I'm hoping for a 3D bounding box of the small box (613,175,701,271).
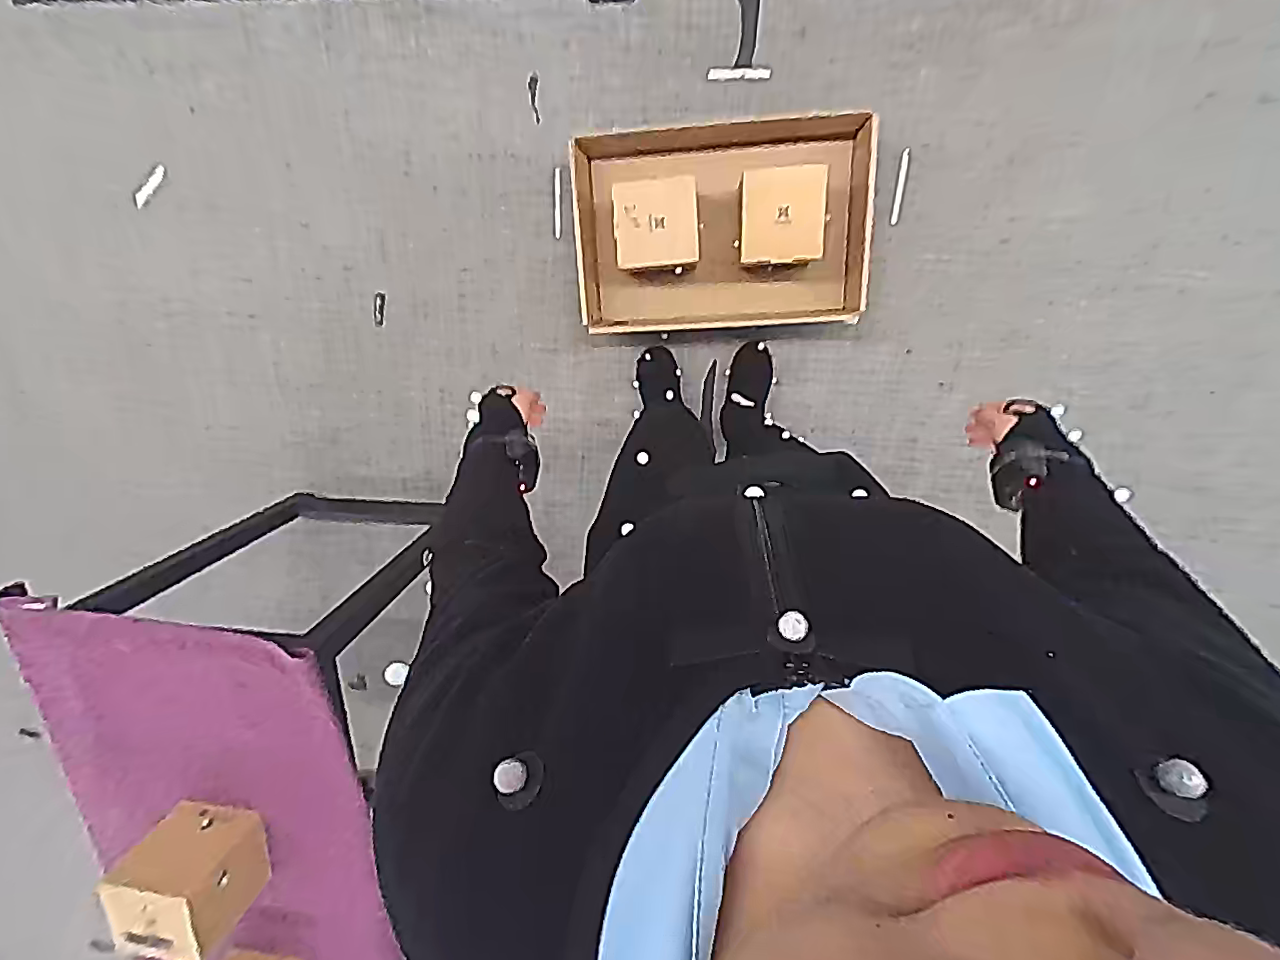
[{"bbox_3d":[0.040,-0.559,1.192,0.179,0.176,0.168,-3,107,6],"label":"small box"}]

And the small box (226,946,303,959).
[{"bbox_3d":[-0.836,1.141,1.148,0.179,0.176,0.168,3,109,5],"label":"small box"}]

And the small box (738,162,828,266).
[{"bbox_3d":[0.299,-0.563,1.165,0.168,0.176,0.179,0,109,7],"label":"small box"}]
